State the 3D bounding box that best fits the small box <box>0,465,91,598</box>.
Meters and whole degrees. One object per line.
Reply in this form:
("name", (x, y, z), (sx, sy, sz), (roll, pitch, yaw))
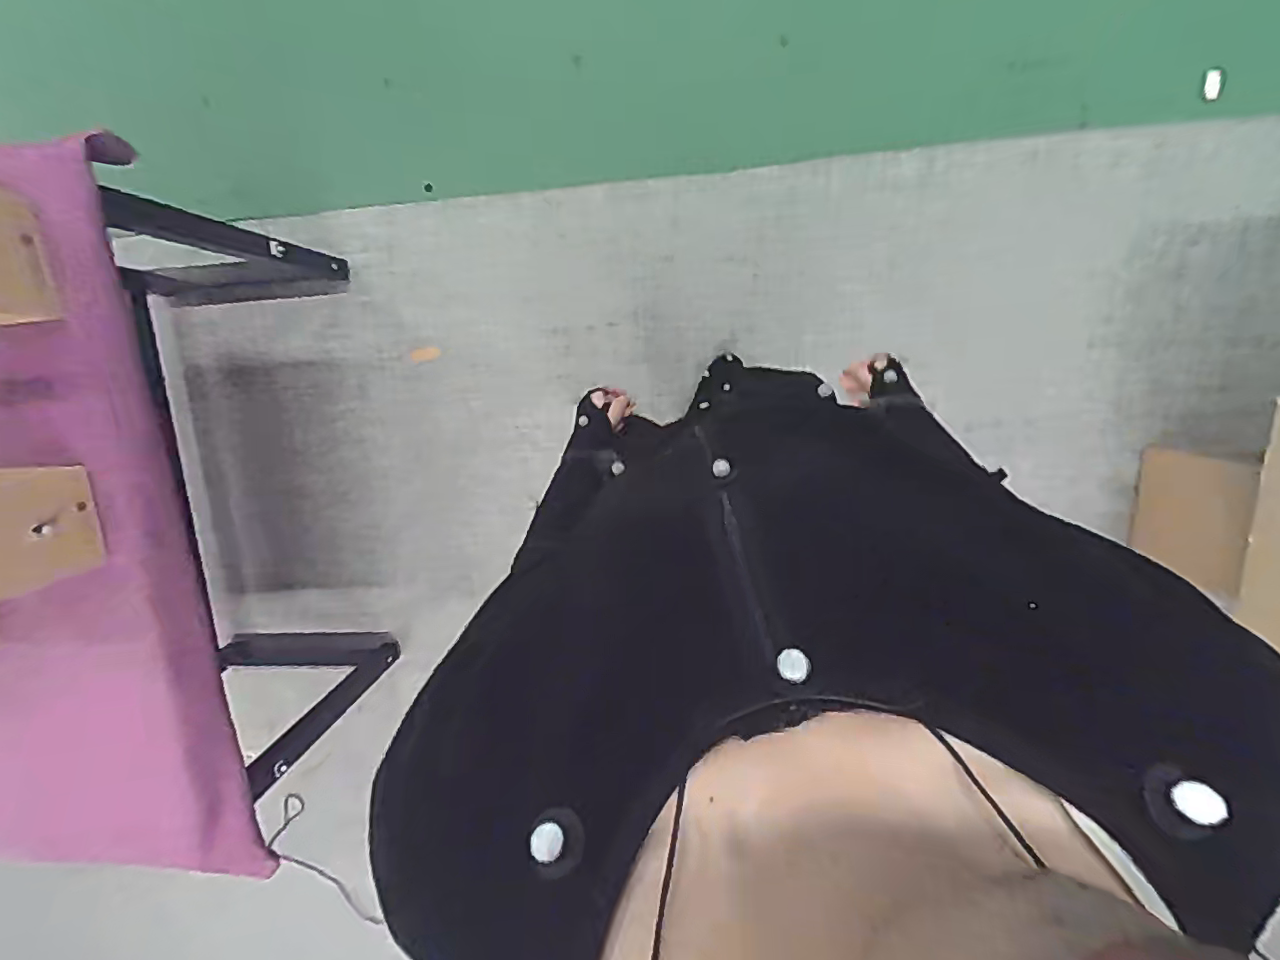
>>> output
("small box", (-0.956, 0.072, 0.780), (0.179, 0.176, 0.168), (-1, 101, 6))
